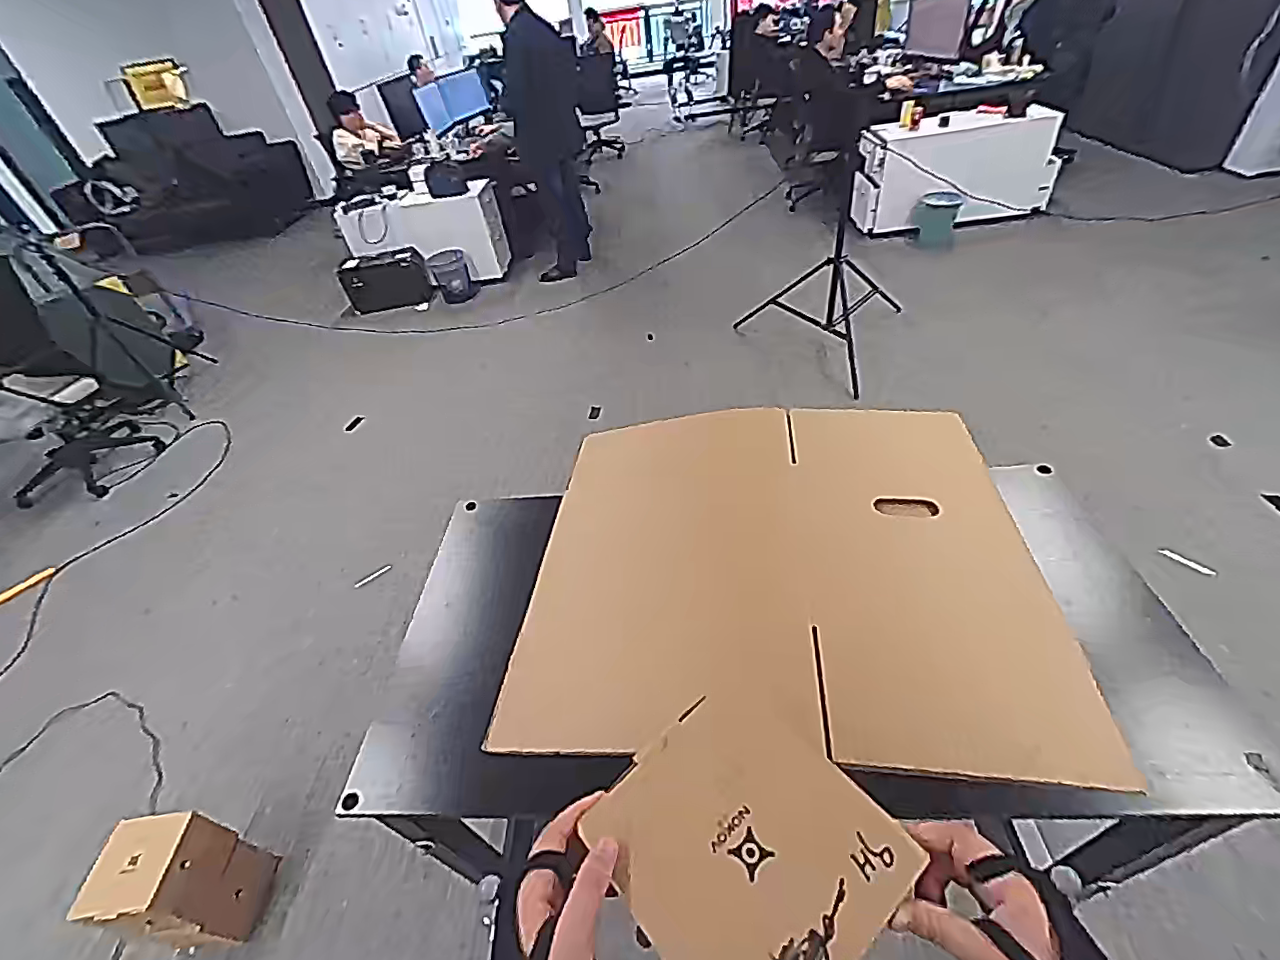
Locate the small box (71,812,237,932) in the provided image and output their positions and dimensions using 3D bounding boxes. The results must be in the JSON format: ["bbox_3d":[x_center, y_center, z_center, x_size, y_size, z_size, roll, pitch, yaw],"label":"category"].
[{"bbox_3d":[-1.023,0.846,1.161,0.168,0.176,0.179,-8,41,0],"label":"small box"}]

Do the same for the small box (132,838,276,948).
[{"bbox_3d":[-1.001,0.968,1.266,0.168,0.176,0.179,-7,43,3],"label":"small box"}]
